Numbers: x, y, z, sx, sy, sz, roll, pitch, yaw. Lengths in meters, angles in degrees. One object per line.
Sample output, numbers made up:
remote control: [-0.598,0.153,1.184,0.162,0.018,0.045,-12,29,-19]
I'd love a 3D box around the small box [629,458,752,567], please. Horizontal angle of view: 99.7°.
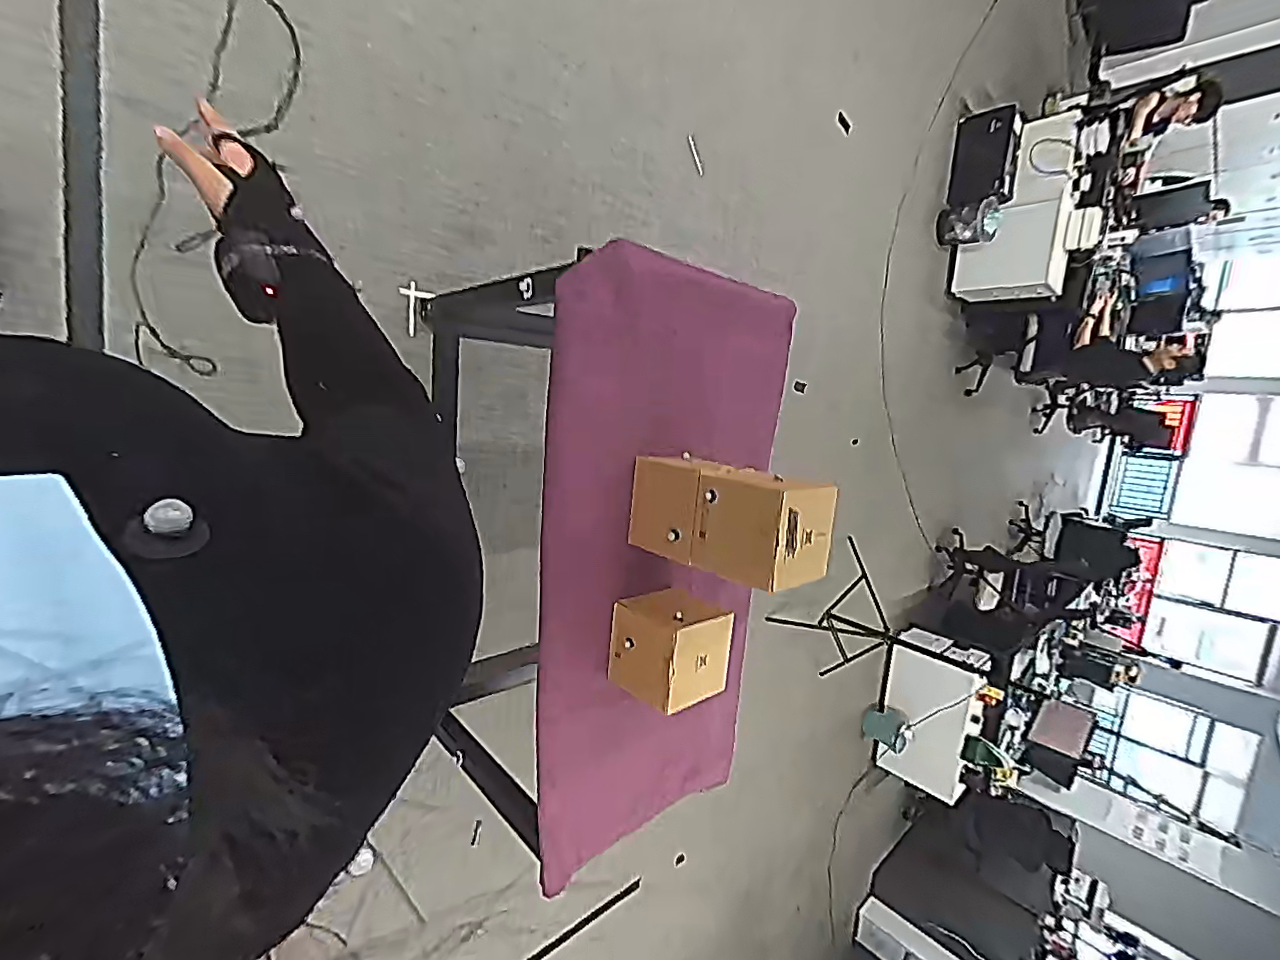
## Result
small box: [0.095,0.056,1.055,0.168,0.176,0.179,-1,100,-44]

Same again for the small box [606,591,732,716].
small box: [0.057,0.334,1.083,0.179,0.176,0.168,-1,100,-44]

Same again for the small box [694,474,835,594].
small box: [0.213,0.083,0.943,0.179,0.176,0.168,-3,102,-44]
